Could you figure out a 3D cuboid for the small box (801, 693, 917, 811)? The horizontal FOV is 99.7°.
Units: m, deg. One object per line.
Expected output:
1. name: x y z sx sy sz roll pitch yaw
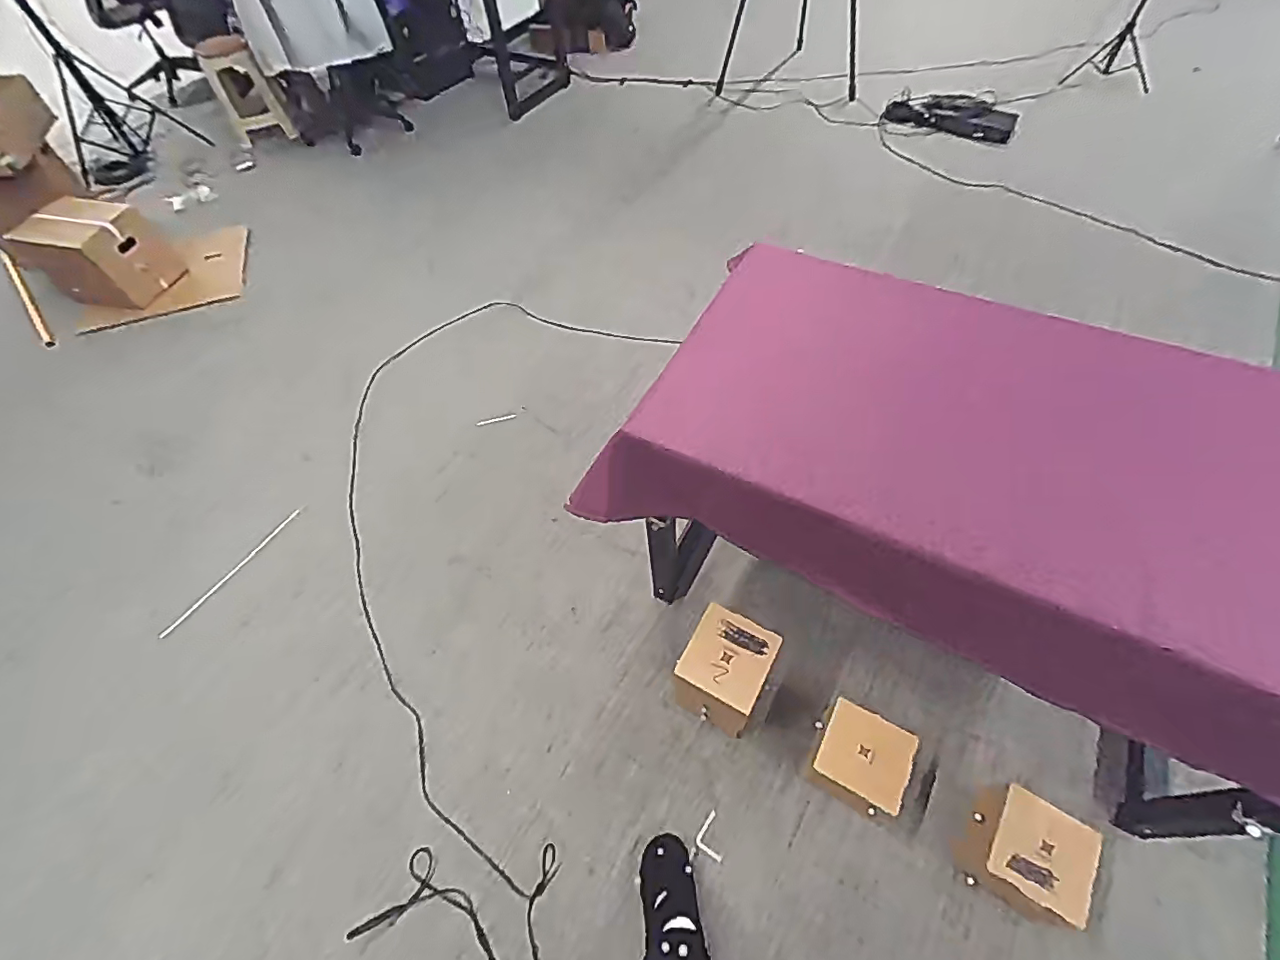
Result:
1. small box: 0.476 0.609 1.199 0.179 0.176 0.168 24 62 19
